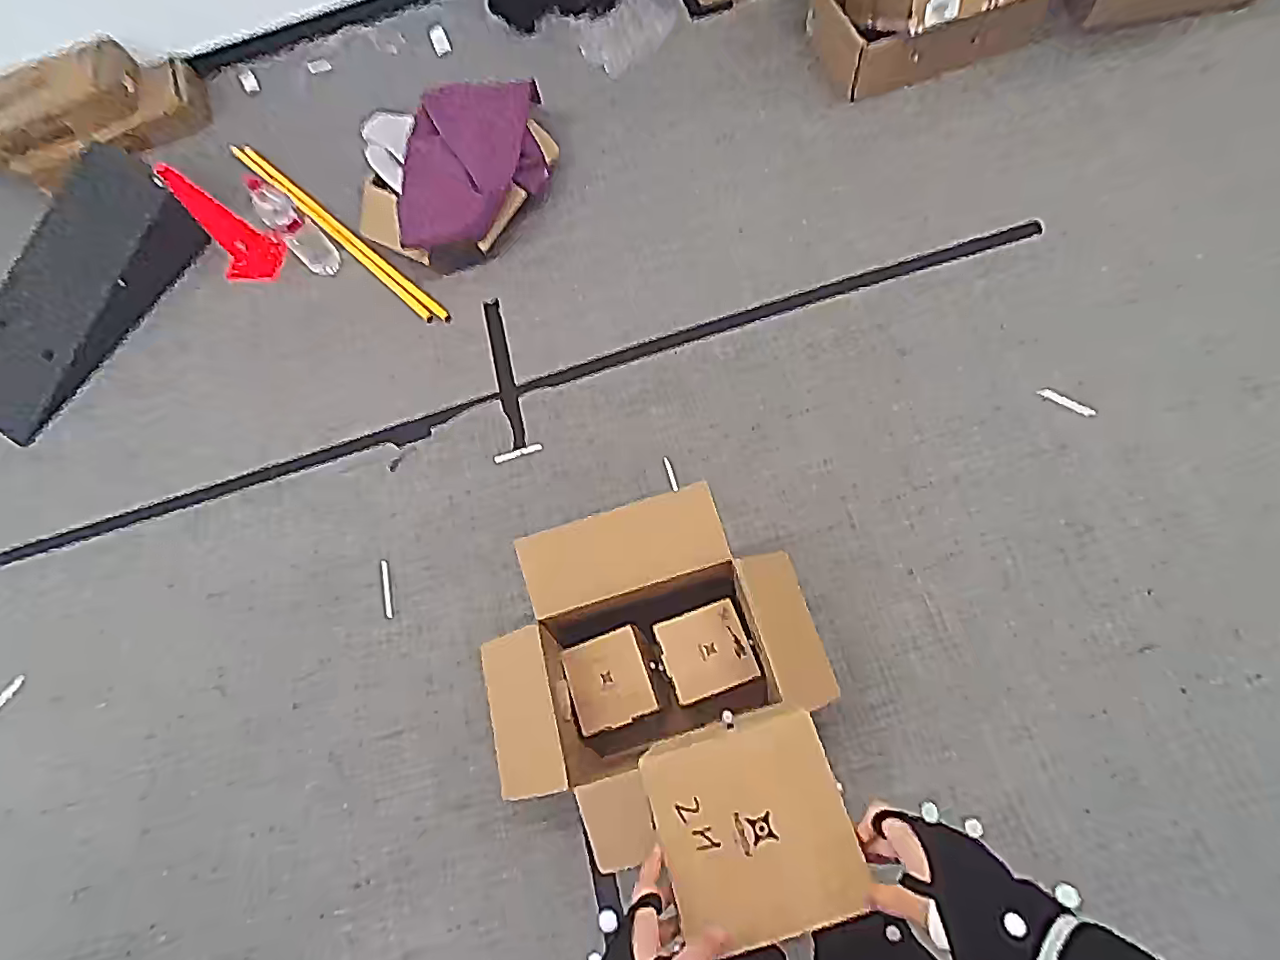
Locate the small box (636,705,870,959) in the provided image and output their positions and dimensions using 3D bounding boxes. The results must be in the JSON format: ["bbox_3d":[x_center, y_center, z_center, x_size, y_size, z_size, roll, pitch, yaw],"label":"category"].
[{"bbox_3d":[0.108,0.349,0.575,0.179,0.176,0.168,-19,68,2],"label":"small box"}]
